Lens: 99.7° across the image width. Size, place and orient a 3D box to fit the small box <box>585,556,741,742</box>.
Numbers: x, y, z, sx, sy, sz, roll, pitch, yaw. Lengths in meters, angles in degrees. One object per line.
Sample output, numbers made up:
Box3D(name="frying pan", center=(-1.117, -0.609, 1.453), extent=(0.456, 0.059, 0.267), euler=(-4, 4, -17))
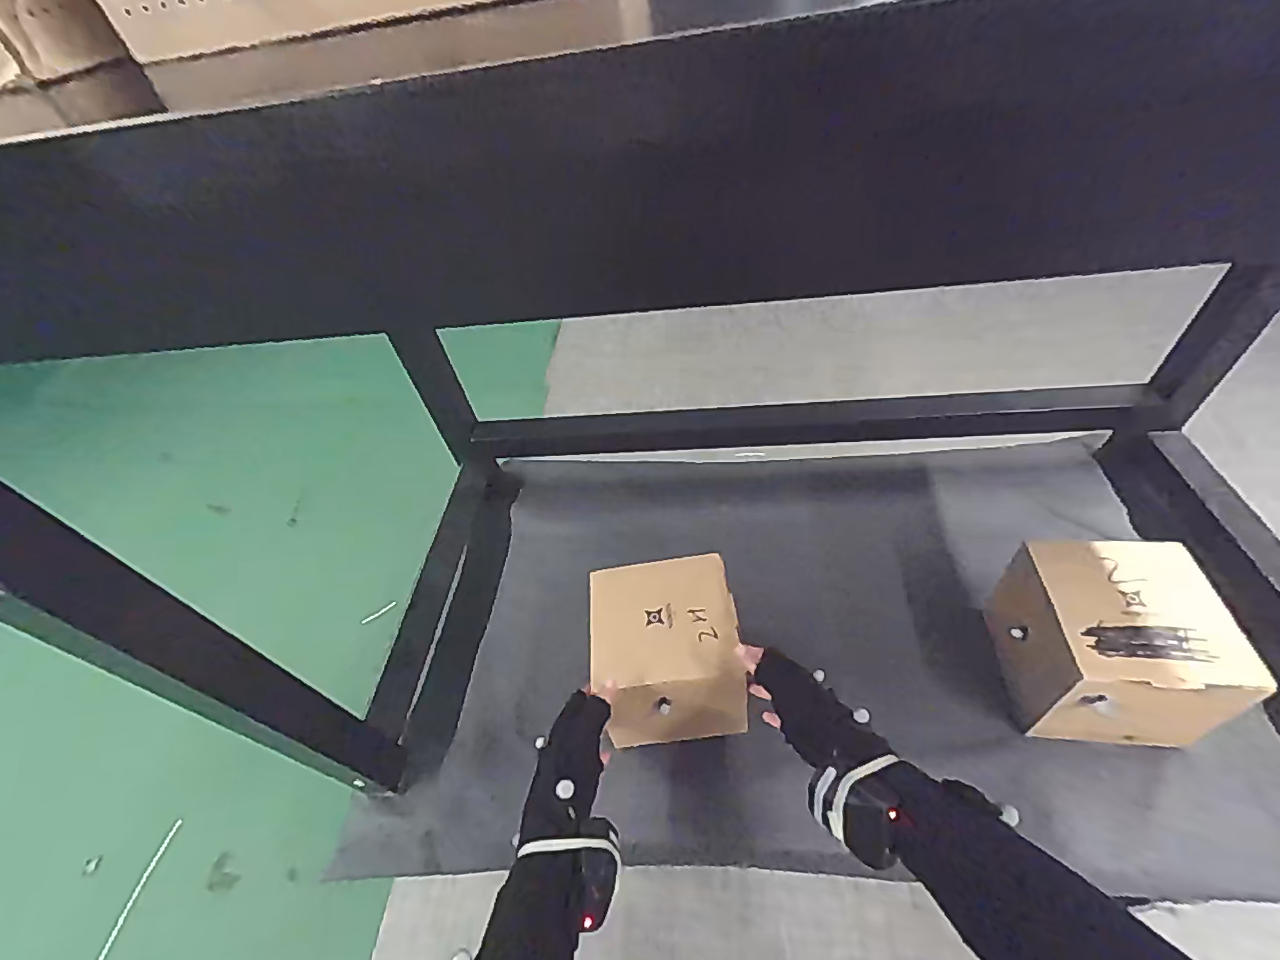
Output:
Box3D(name="small box", center=(0.032, 0.223, 0.704), extent=(0.179, 0.176, 0.168), euler=(-8, 45, 3))

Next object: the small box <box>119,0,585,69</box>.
Box3D(name="small box", center=(-0.099, -0.255, 0.173), extent=(0.168, 0.176, 0.179), euler=(-3, 47, 7))
